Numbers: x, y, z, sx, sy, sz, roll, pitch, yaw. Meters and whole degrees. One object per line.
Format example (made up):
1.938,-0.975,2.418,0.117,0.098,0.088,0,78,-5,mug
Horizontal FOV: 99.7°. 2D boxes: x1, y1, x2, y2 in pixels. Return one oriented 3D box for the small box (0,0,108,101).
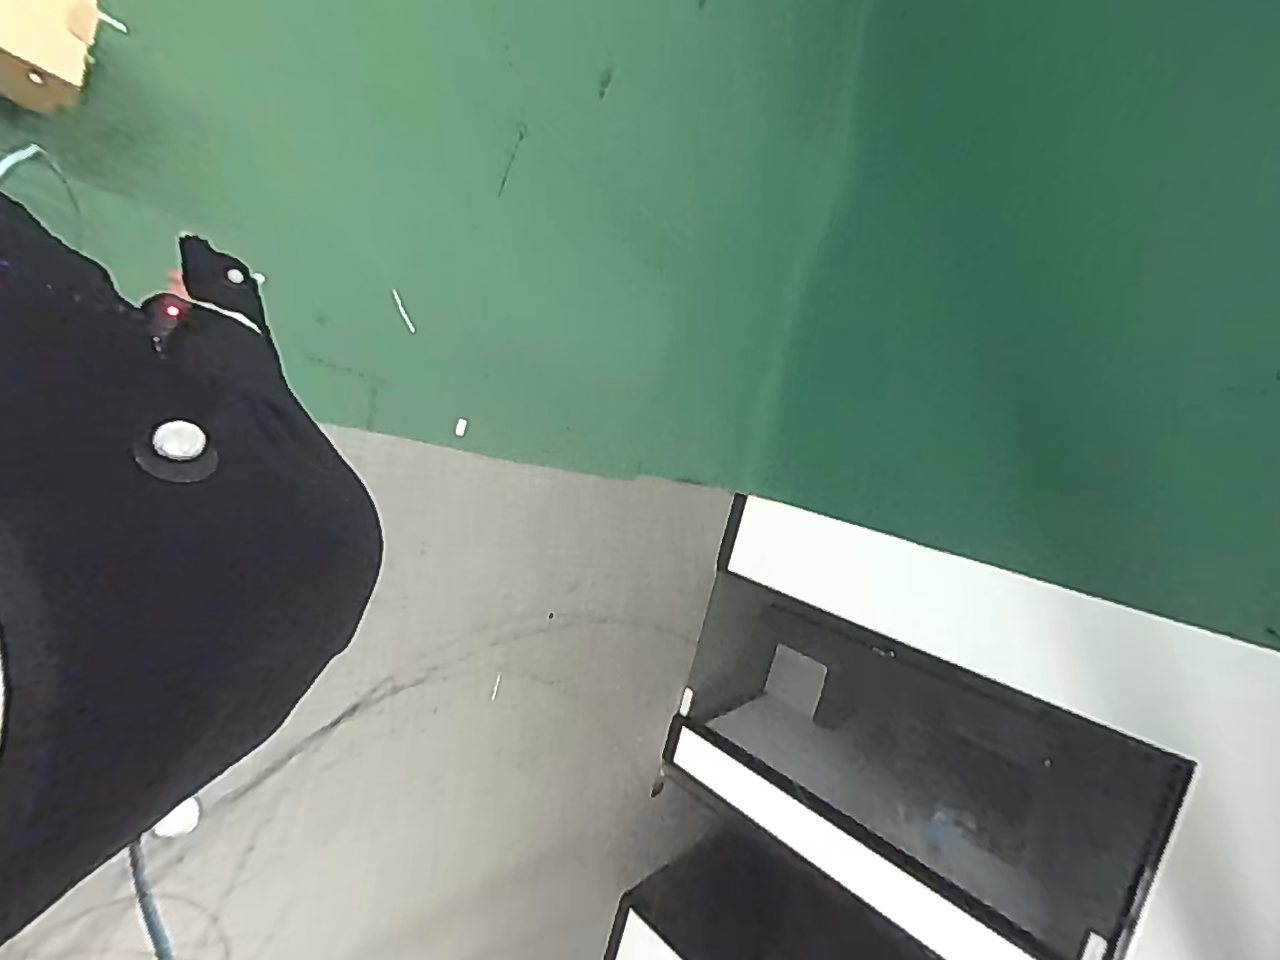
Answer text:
-0.858,-0.653,0.730,0.179,0.176,0.168,11,96,-52,small box
